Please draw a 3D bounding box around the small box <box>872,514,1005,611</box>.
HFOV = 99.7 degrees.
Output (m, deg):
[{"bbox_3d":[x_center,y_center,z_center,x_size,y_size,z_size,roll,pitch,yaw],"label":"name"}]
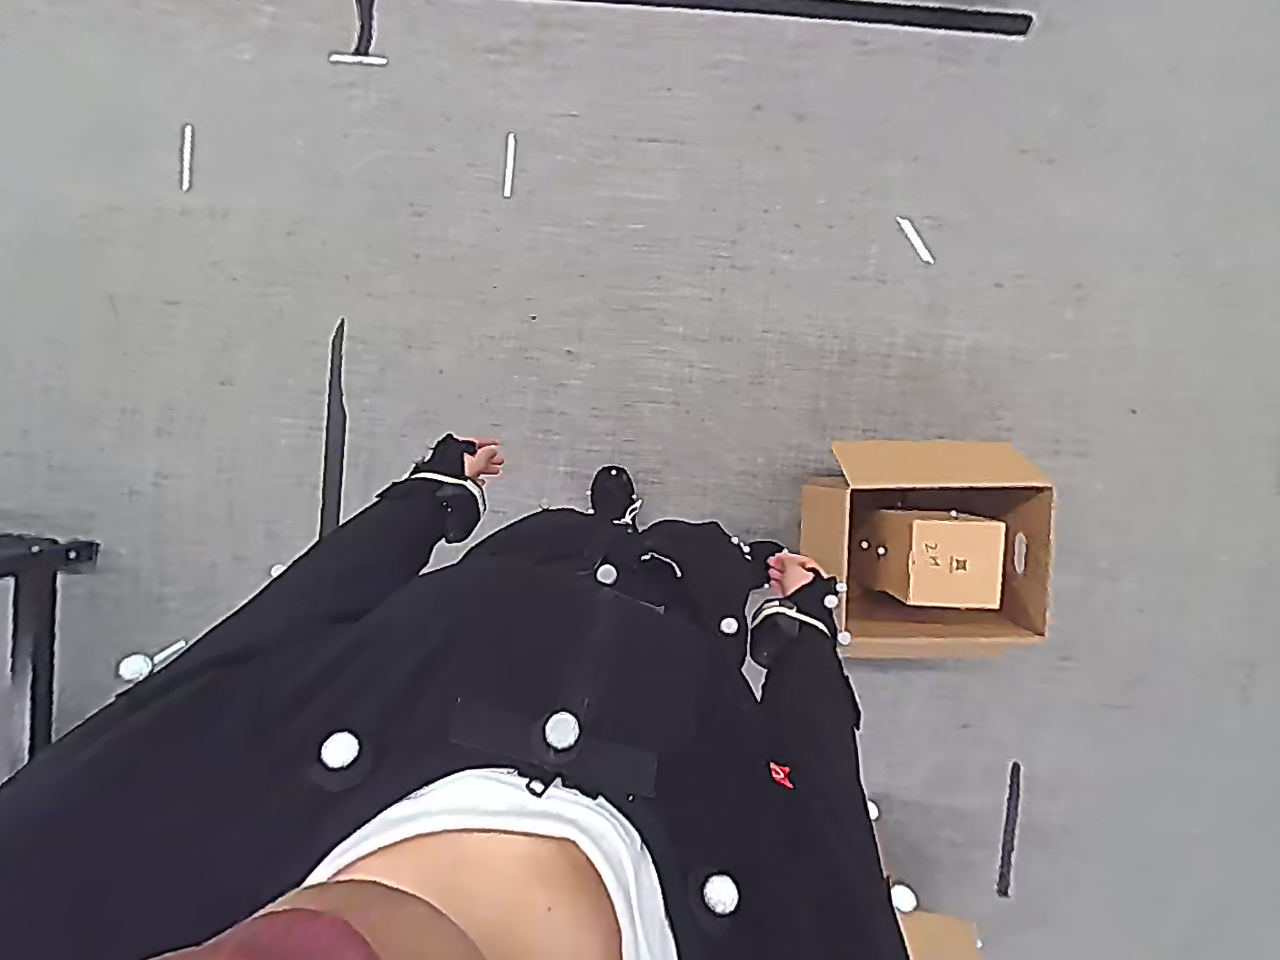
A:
[{"bbox_3d":[0.602,0.161,1.106,0.179,0.176,0.168,2,93,2],"label":"small box"}]
